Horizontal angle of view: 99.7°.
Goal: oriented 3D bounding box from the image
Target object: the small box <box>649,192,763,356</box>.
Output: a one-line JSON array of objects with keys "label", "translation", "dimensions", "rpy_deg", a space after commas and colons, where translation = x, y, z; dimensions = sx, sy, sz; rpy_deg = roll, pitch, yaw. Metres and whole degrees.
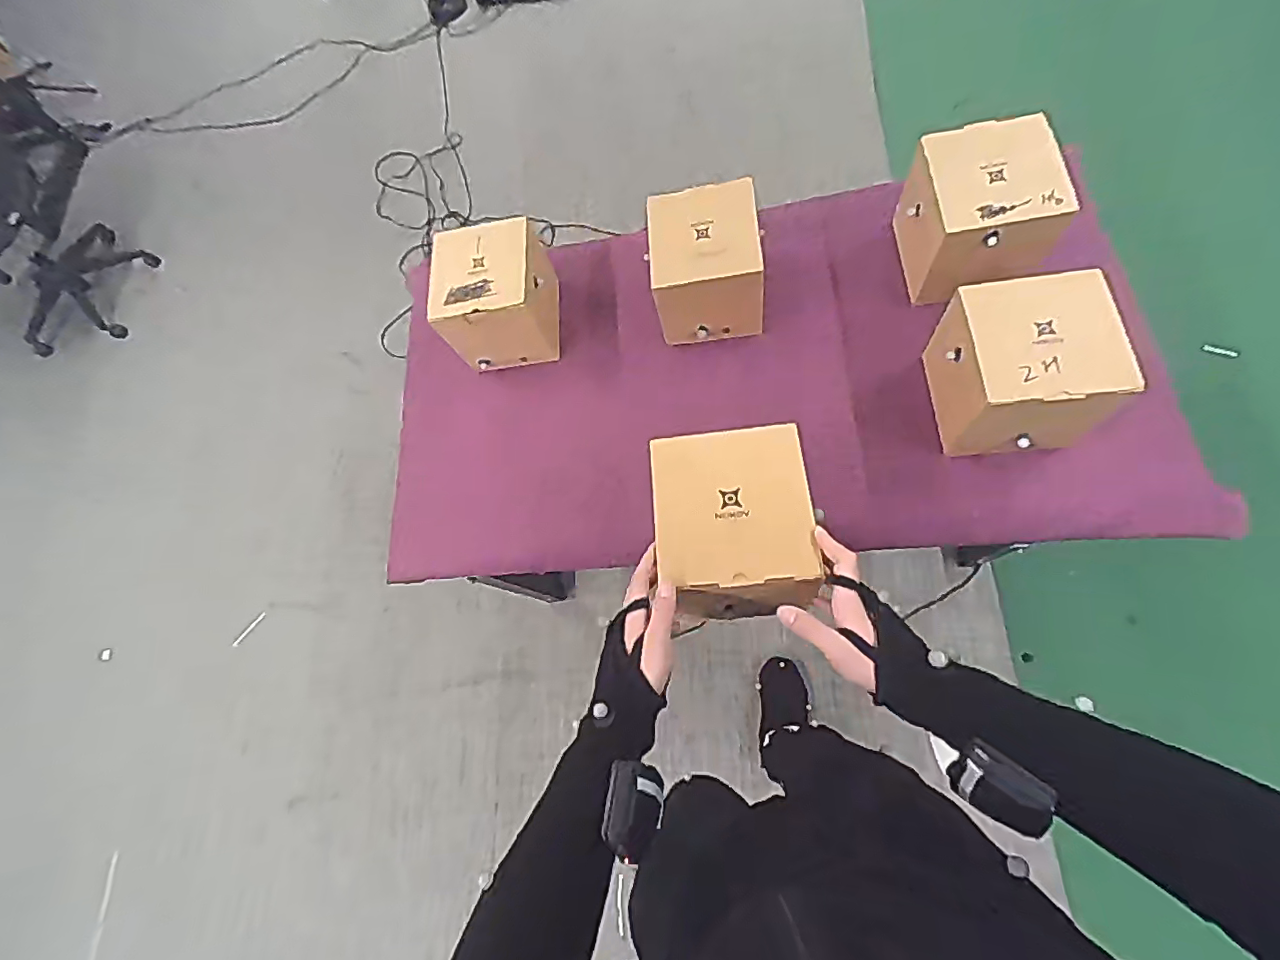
[{"label": "small box", "translation": [0.110, -0.330, 0.890], "dimensions": [0.168, 0.176, 0.179], "rpy_deg": [-5, 71, 11]}]

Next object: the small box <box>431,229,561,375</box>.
[{"label": "small box", "translation": [-0.242, -0.299, 0.949], "dimensions": [0.168, 0.176, 0.179], "rpy_deg": [-6, 69, 9]}]

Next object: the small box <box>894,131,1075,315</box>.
[{"label": "small box", "translation": [0.504, -0.381, 0.824], "dimensions": [0.168, 0.176, 0.179], "rpy_deg": [-6, 70, 10]}]

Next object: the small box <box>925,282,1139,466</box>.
[{"label": "small box", "translation": [0.508, -0.134, 0.734], "dimensions": [0.168, 0.176, 0.179], "rpy_deg": [-5, 69, 12]}]
